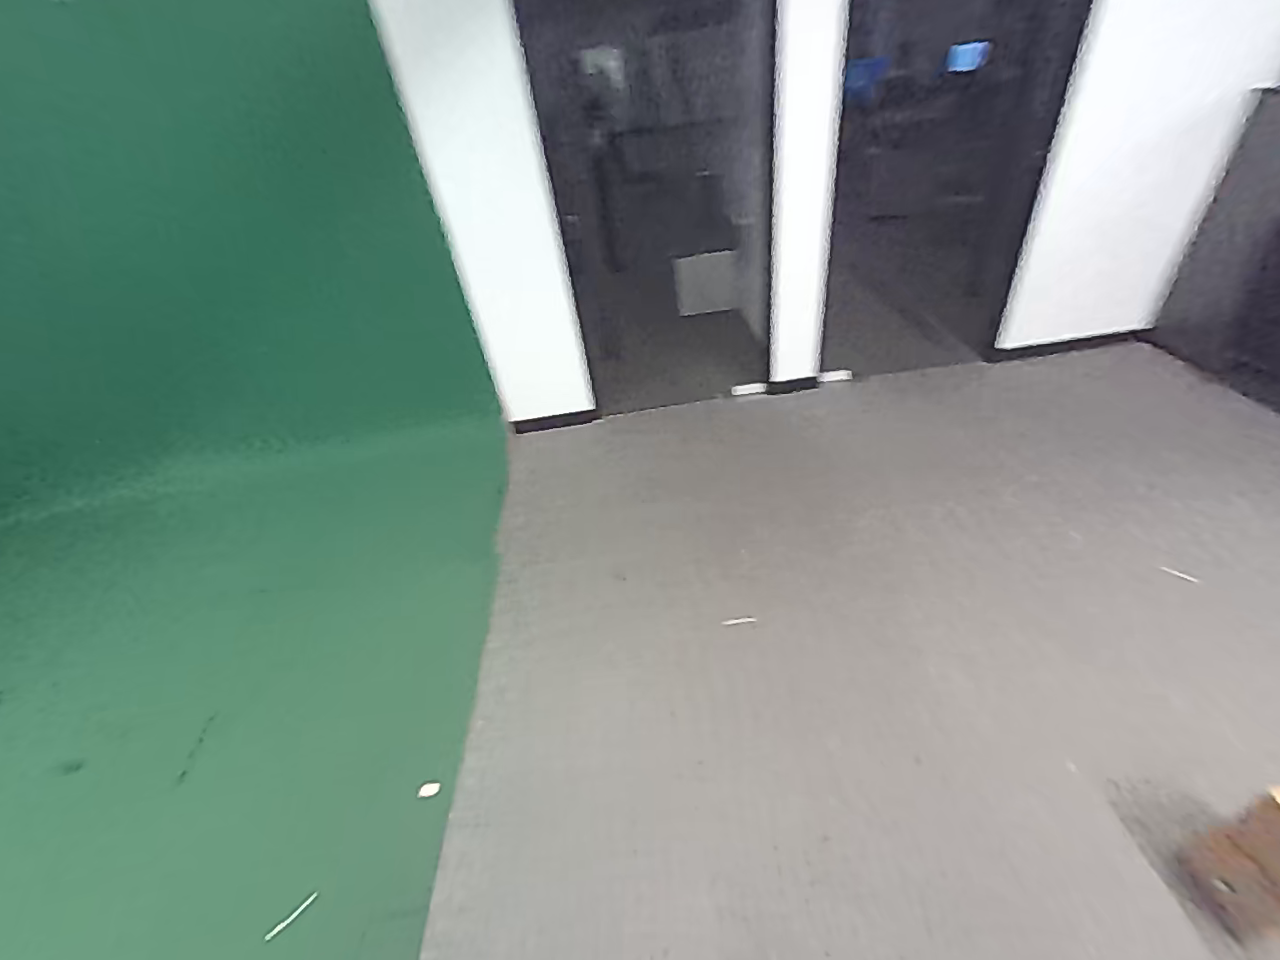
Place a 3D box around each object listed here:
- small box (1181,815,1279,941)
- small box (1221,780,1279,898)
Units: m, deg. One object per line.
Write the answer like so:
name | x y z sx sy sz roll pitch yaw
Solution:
small box | 1.241 0.782 1.071 0.179 0.176 0.168 -8 37 2
small box | 1.227 0.658 0.966 0.168 0.176 0.179 -9 38 2
